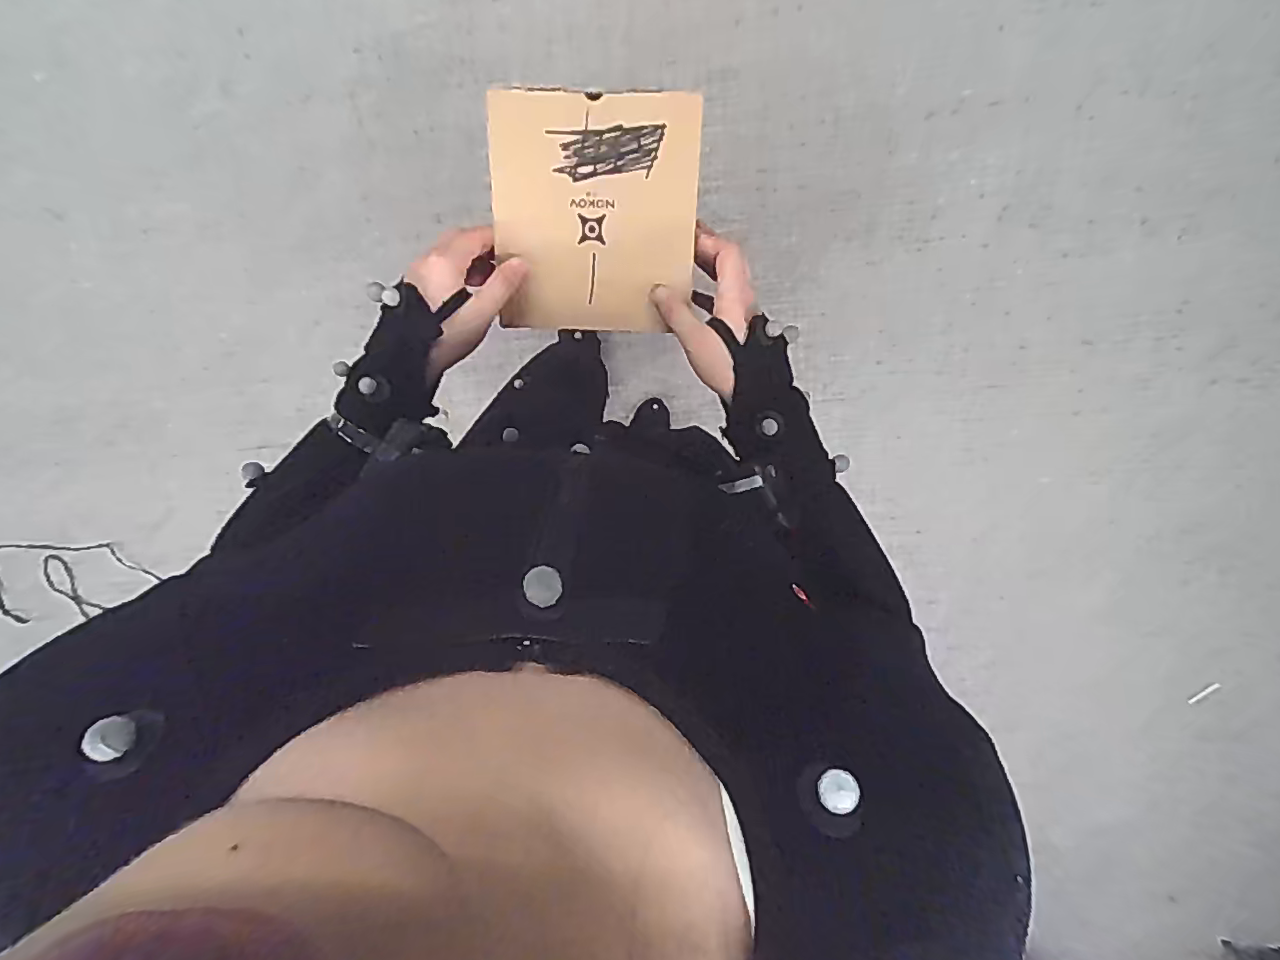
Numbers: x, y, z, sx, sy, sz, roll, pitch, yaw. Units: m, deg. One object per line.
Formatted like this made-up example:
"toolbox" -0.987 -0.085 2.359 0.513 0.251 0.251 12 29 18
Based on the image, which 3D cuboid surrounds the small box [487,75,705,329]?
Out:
"small box" -0.034 -0.237 0.500 0.168 0.176 0.179 4 108 3
